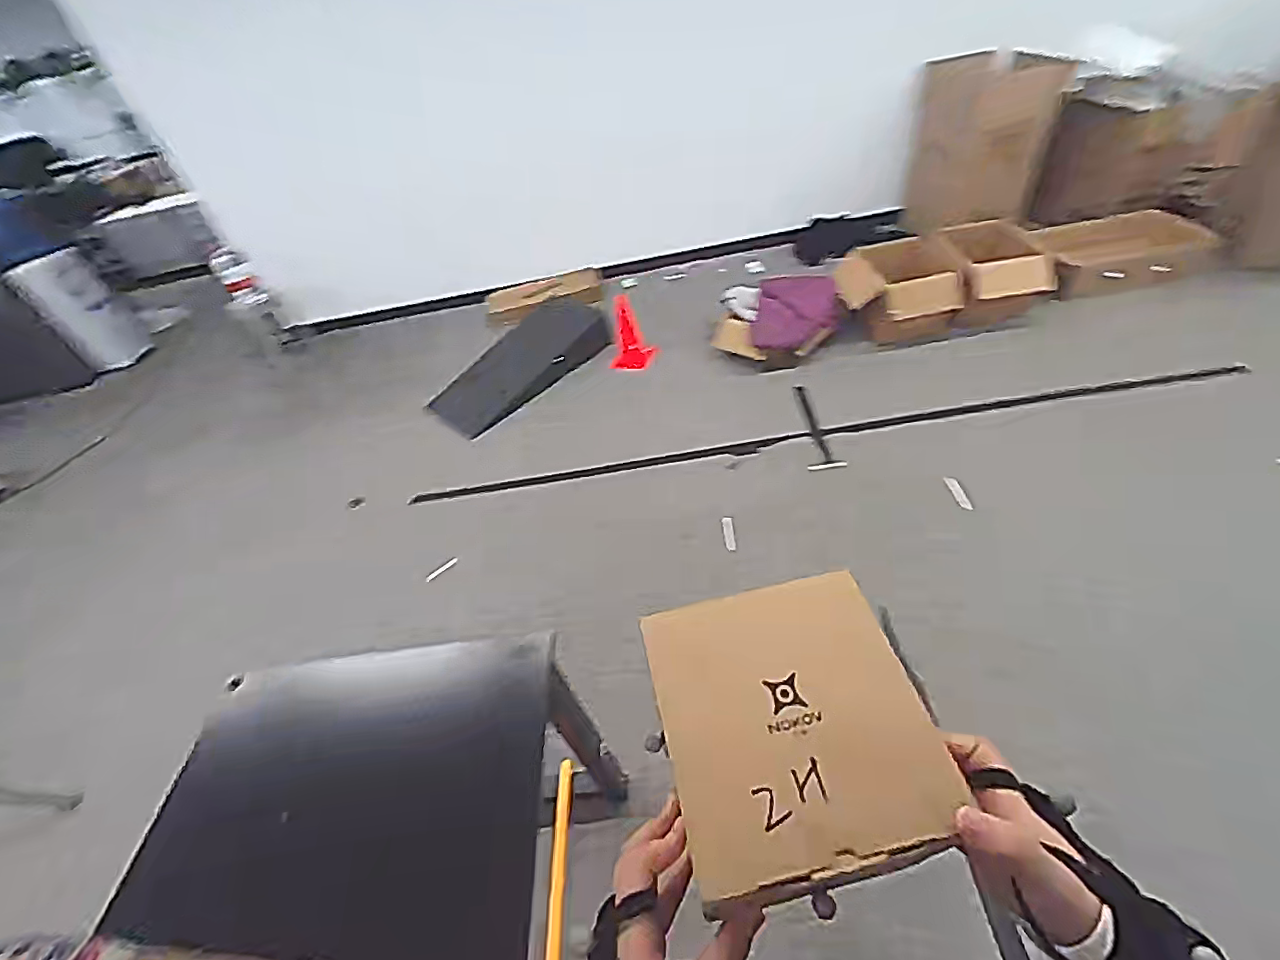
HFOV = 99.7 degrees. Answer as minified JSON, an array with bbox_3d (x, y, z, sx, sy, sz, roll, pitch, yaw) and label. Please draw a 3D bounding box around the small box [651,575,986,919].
[{"bbox_3d":[0.107,0.203,0.412,0.168,0.176,0.179,-12,48,-2],"label":"small box"}]
